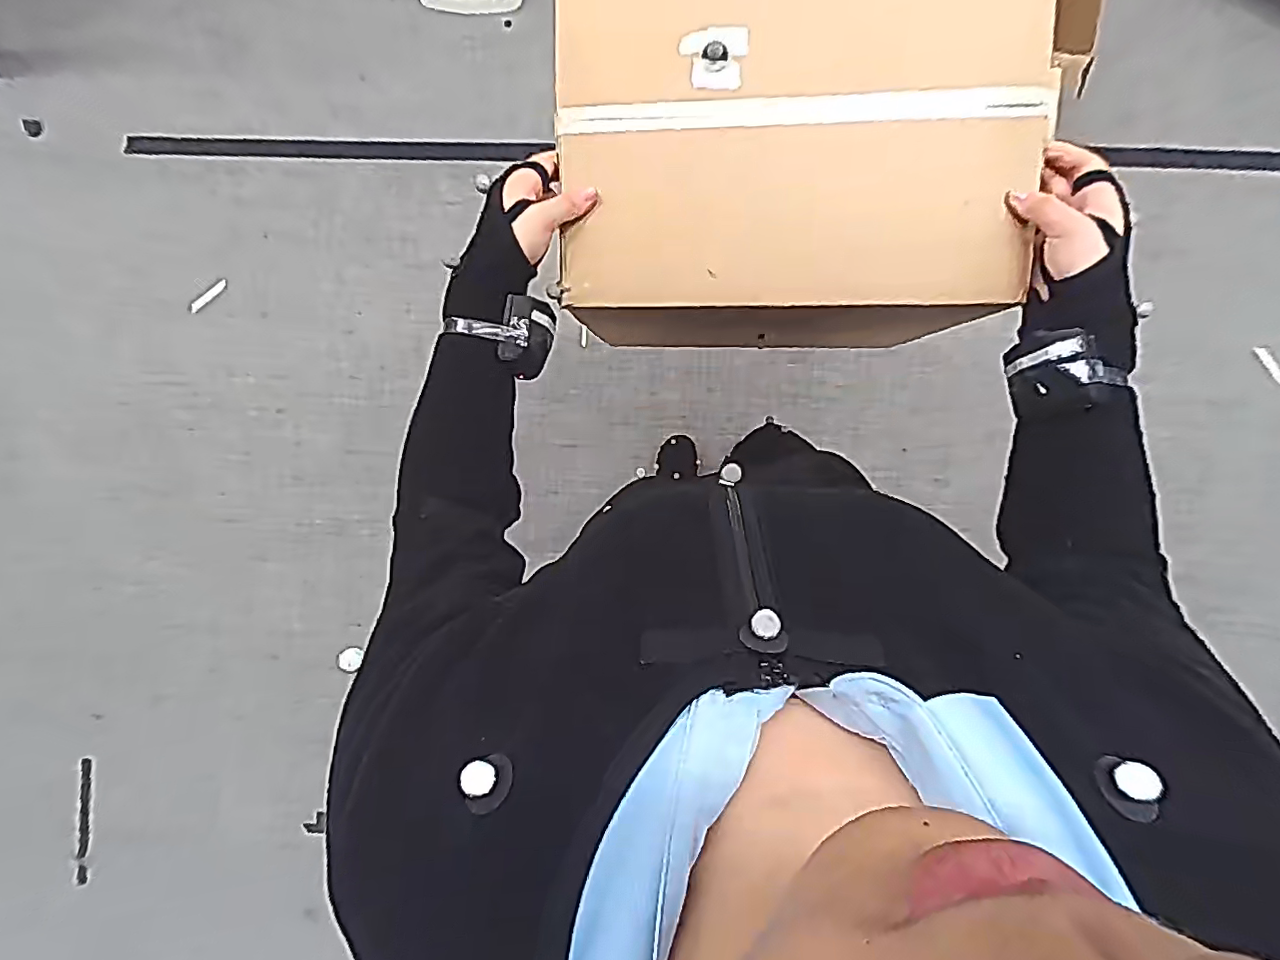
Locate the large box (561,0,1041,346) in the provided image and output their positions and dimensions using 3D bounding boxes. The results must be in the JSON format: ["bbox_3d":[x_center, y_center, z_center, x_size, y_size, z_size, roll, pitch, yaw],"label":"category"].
[{"bbox_3d":[0.147,-0.331,0.616,0.408,0.320,0.320,1,95,6],"label":"large box"}]
